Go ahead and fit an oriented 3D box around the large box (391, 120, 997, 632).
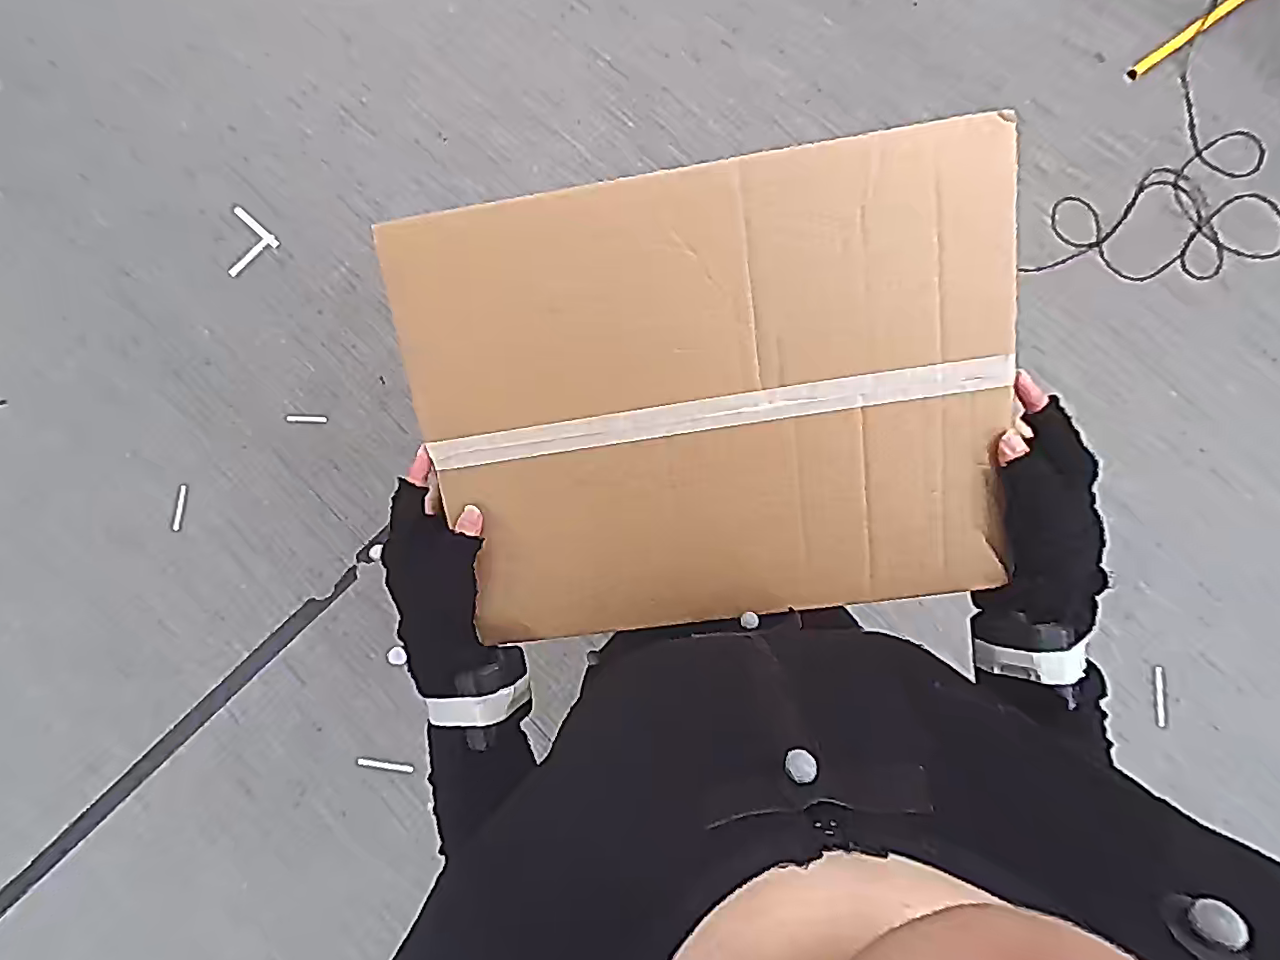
[{"bbox_3d":[0.052,-0.085,0.530,0.408,0.320,0.320,-7,105,4],"label":"large box"}]
